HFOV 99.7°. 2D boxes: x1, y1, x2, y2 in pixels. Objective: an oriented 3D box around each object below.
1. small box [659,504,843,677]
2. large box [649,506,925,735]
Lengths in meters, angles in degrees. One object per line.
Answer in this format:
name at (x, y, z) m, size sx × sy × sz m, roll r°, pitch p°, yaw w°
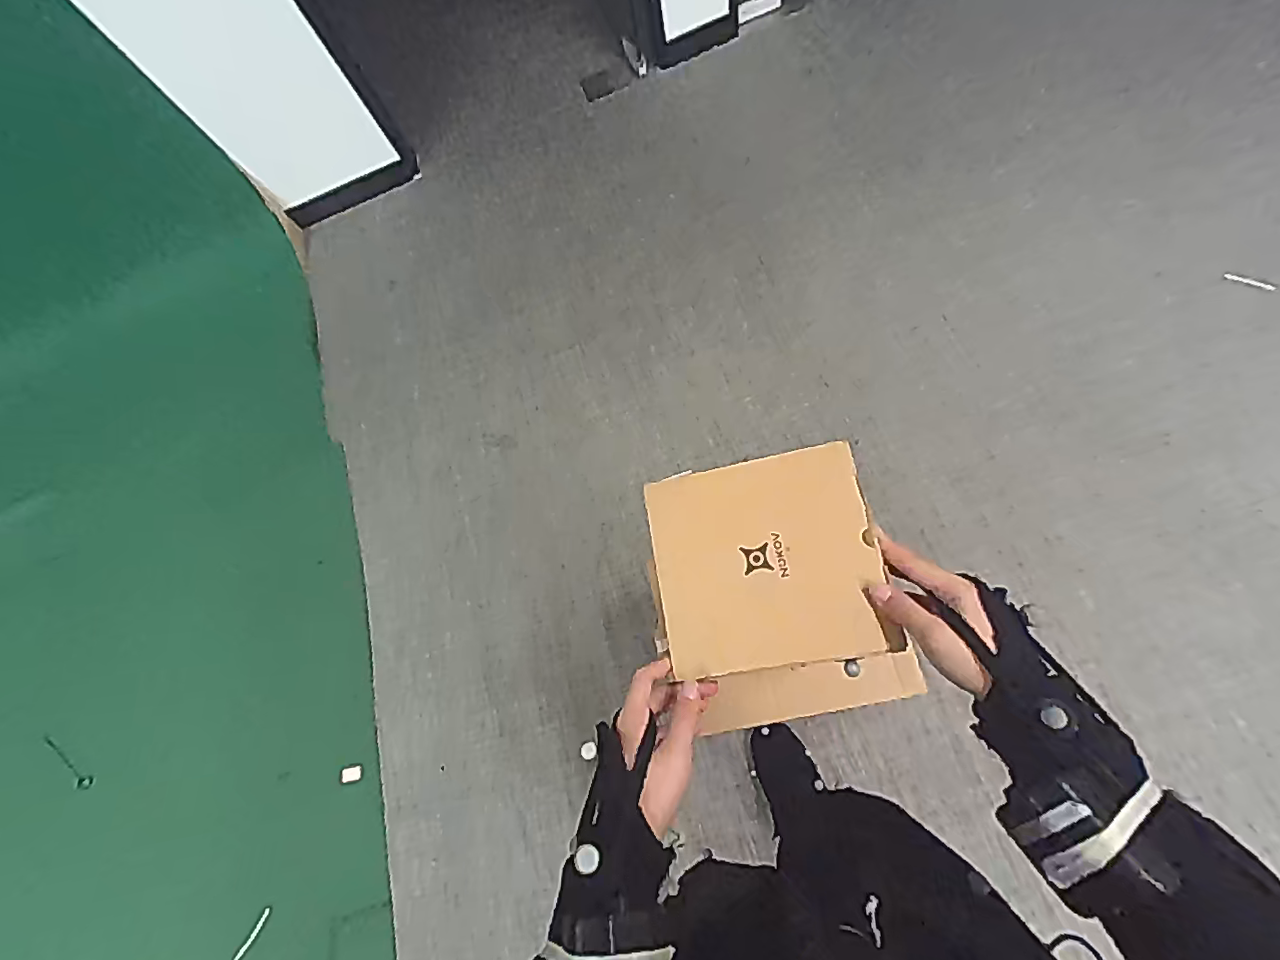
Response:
small box at (0.138, 0.150, 0.702) m, size 0.179 × 0.176 × 0.168 m, roll -17°, pitch 67°, yaw 6°
large box at (0.262, 0.285, 1.069) m, size 0.408 × 0.320 × 0.320 m, roll -14°, pitch 69°, yaw 6°
